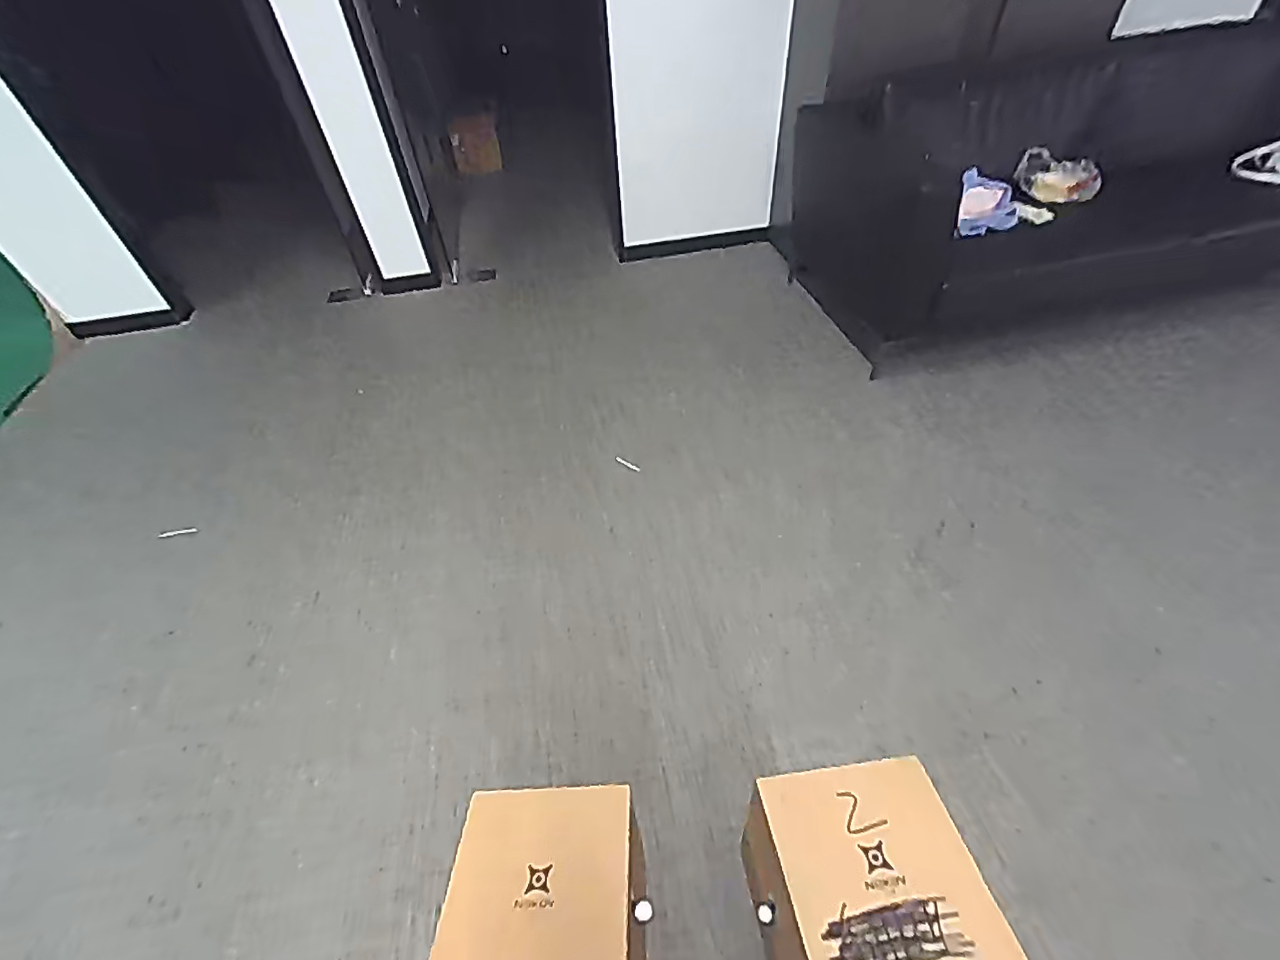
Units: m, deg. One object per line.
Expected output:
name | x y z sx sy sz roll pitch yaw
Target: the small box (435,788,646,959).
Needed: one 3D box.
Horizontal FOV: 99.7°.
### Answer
small box | -0.084 0.440 0.538 0.168 0.176 0.179 -5 32 3
